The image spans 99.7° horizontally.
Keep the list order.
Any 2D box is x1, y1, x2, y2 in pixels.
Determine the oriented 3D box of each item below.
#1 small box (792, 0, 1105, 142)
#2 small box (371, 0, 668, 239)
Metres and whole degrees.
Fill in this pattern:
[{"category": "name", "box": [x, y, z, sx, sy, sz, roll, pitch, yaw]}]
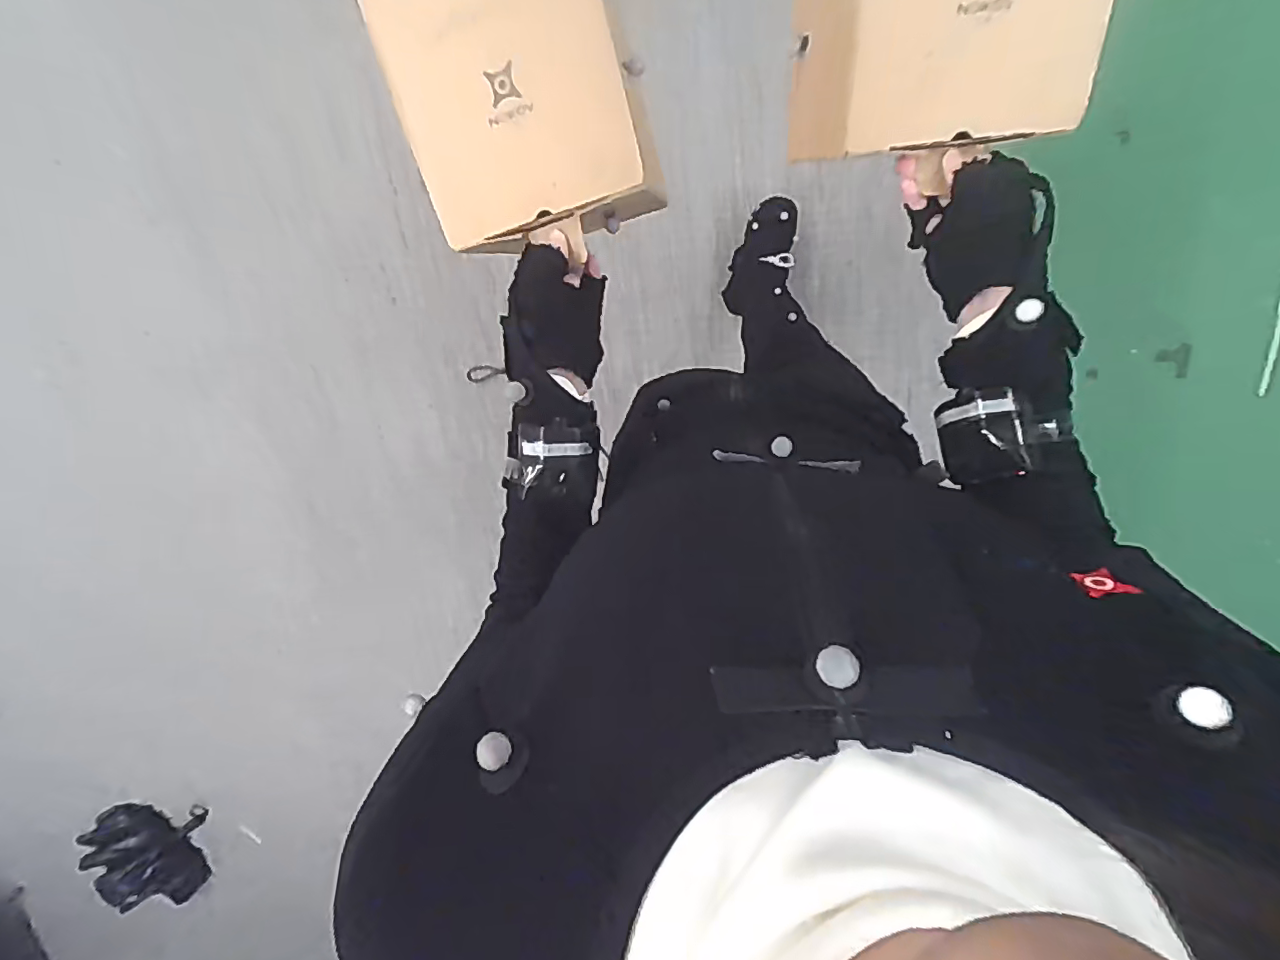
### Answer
[{"category": "small box", "box": [0.223, -0.370, 0.417, 0.168, 0.176, 0.179, -5, 120, 0]}, {"category": "small box", "box": [-0.080, -0.317, 0.457, 0.168, 0.176, 0.179, -13, 109, 13]}]
